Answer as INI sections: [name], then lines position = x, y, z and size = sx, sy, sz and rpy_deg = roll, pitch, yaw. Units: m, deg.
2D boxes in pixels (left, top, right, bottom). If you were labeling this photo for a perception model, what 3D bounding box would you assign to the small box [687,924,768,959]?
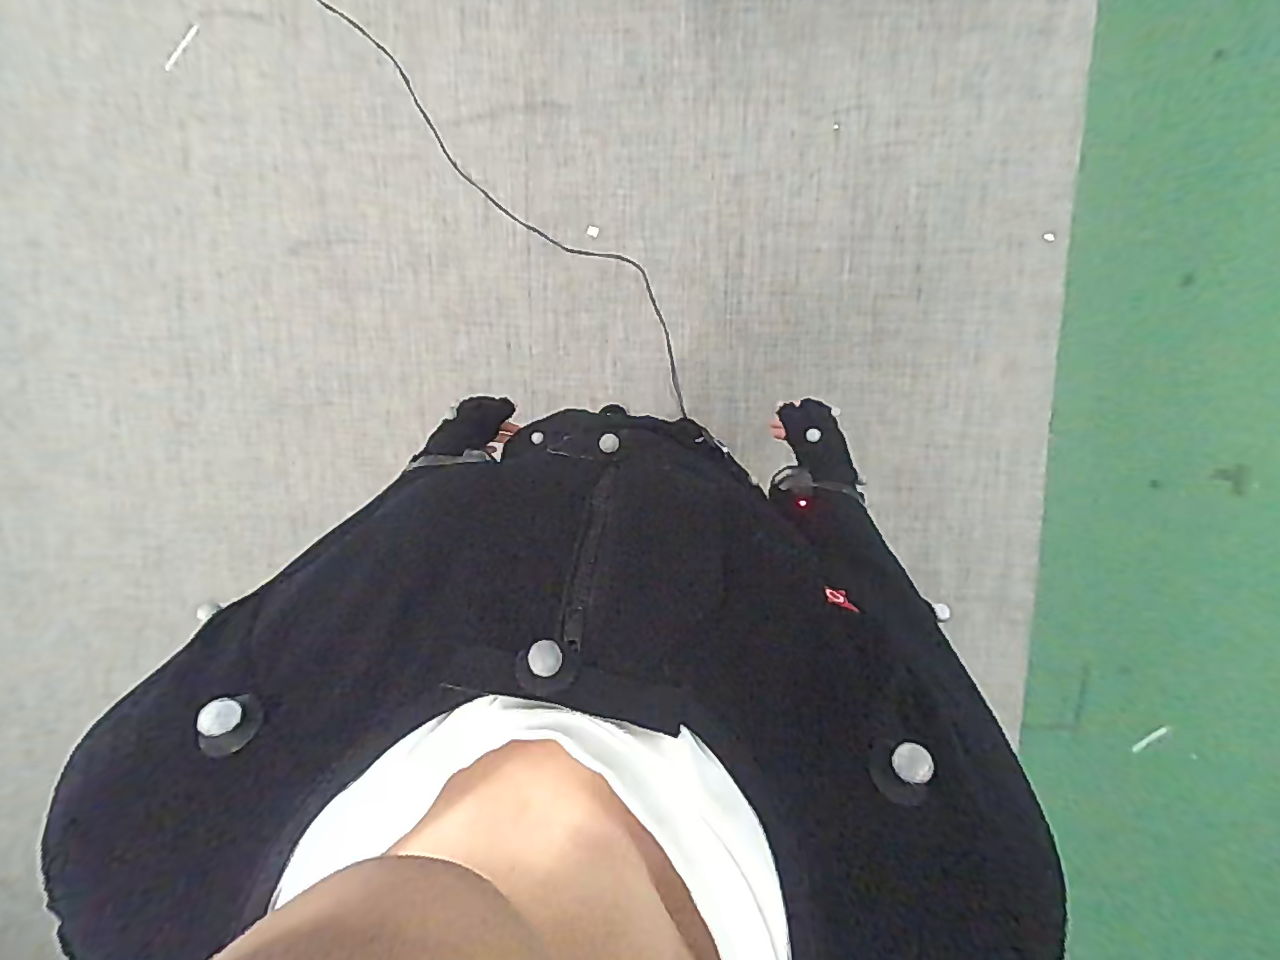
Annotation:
[small box]
position = 0.177, 1.075, 1.116
size = 0.168, 0.176, 0.179
rpy_deg = 7, 101, 6
